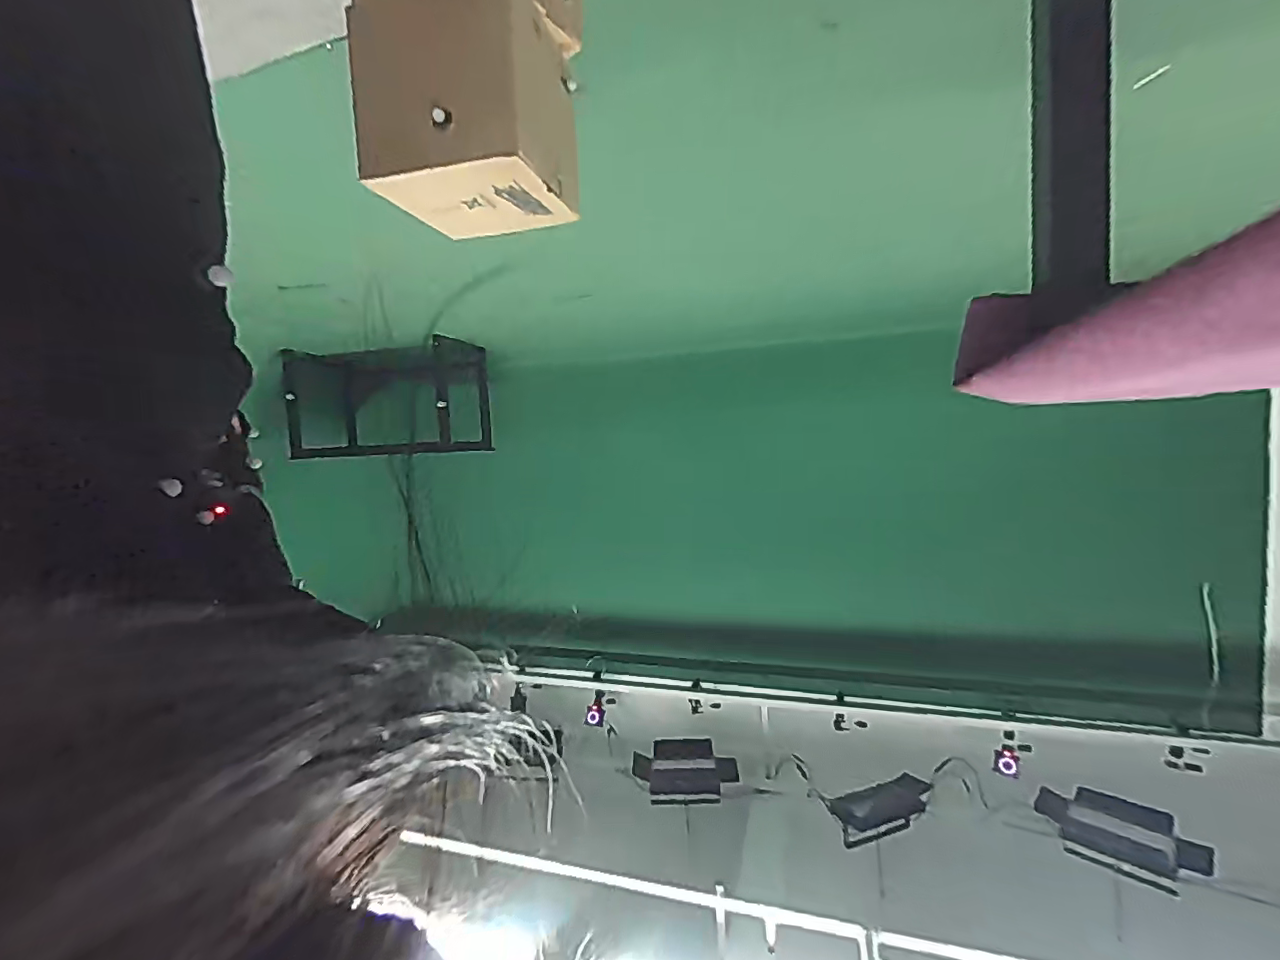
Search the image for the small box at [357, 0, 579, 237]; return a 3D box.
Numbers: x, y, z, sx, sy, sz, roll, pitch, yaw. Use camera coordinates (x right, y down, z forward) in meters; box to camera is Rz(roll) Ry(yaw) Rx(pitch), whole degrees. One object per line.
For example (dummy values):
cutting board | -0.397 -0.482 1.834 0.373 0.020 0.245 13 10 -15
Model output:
small box | -0.177 -0.385 0.584 0.179 0.176 0.168 0 -176 13
